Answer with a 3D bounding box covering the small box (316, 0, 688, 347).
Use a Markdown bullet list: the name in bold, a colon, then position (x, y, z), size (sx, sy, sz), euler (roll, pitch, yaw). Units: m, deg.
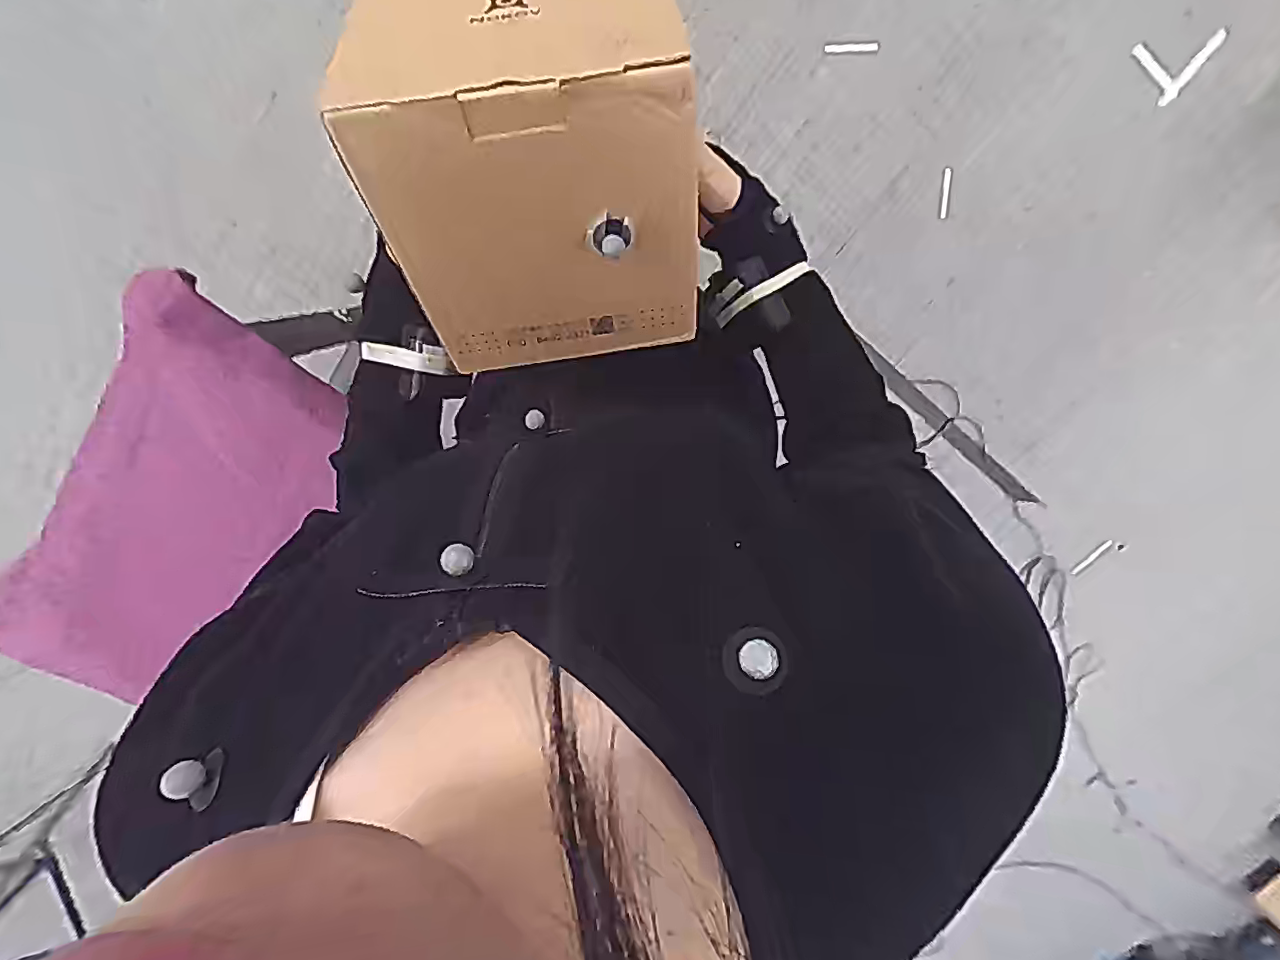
- **small box**: position (-0.061, -0.200, 0.339), size (0.168, 0.179, 0.176), euler (-7, 150, 0)
